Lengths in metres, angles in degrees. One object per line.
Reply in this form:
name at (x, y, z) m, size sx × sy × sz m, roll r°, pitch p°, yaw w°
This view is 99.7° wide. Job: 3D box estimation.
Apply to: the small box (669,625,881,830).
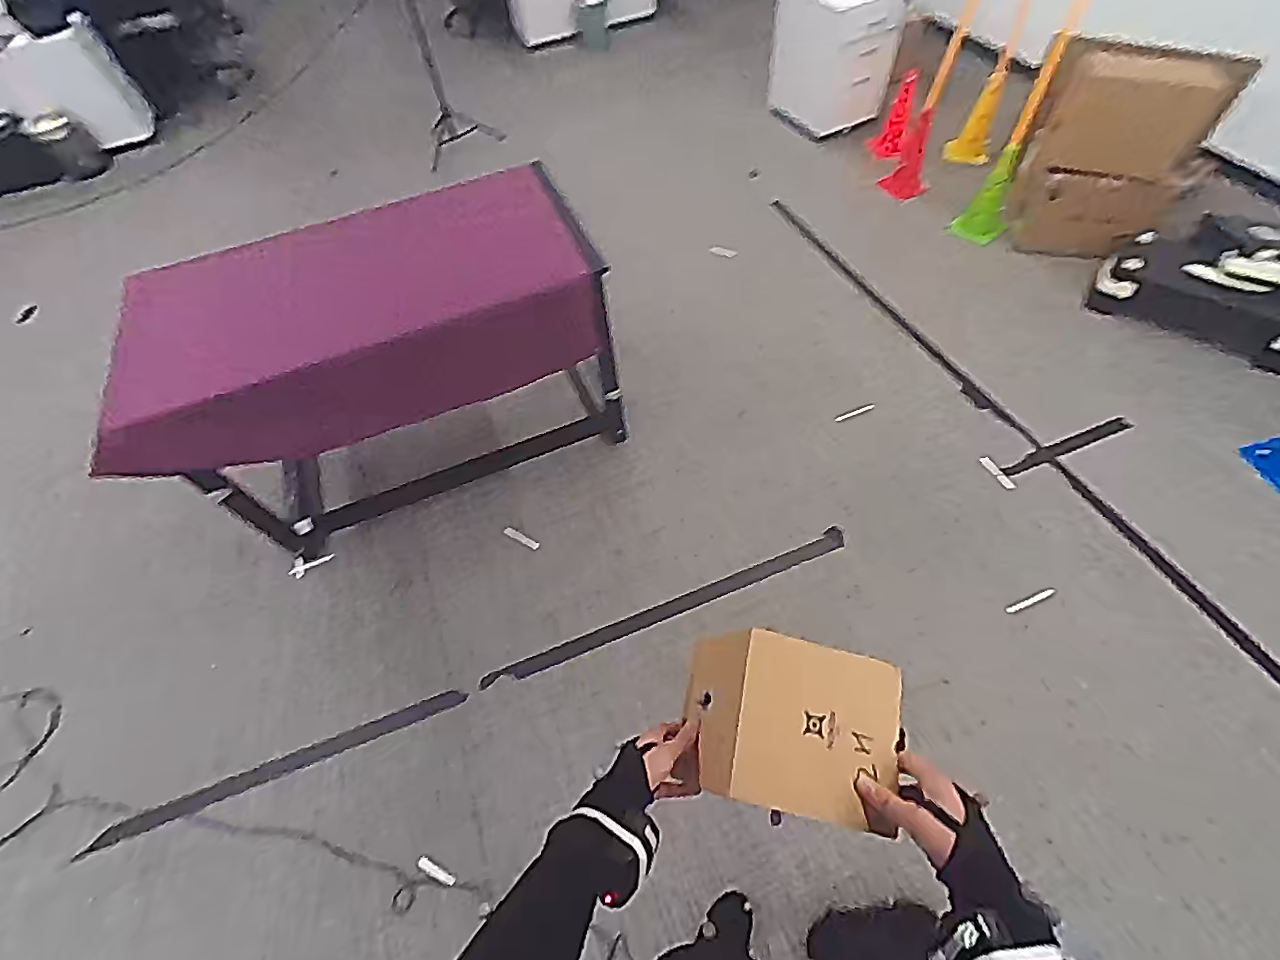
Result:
small box at (0.150, 0.281, 0.630) m, size 0.179 × 0.176 × 0.168 m, roll 19°, pitch 65°, yaw -11°
